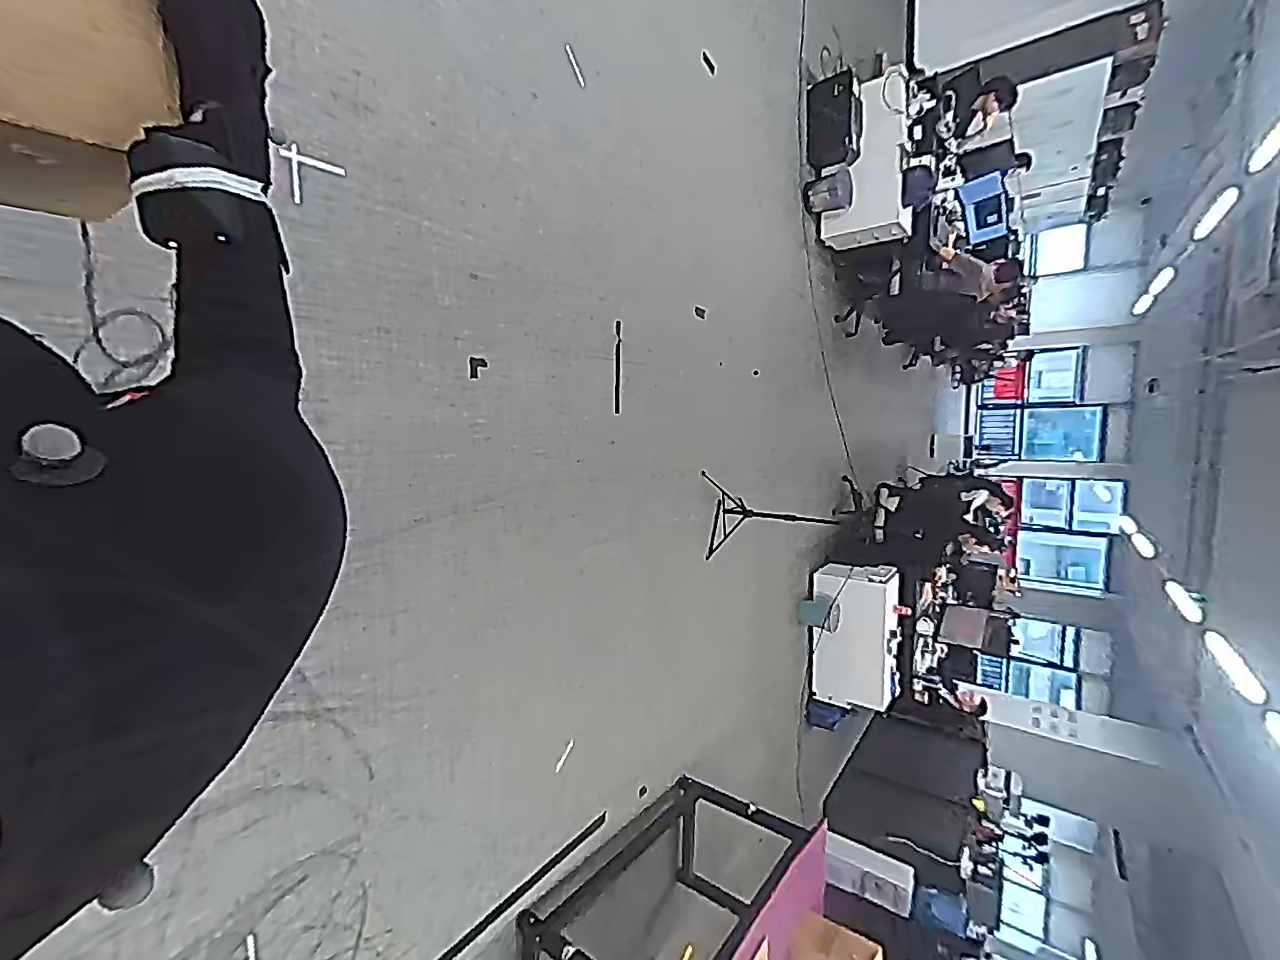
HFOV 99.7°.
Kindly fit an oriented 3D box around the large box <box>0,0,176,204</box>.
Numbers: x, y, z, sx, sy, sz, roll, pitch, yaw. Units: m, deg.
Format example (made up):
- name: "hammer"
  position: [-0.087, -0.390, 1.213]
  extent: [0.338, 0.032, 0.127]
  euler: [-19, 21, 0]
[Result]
- name: "large box"
  position: [-0.577, -0.392, 0.306]
  extent: [0.408, 0.320, 0.320]
  euler: [-10, 108, -53]
